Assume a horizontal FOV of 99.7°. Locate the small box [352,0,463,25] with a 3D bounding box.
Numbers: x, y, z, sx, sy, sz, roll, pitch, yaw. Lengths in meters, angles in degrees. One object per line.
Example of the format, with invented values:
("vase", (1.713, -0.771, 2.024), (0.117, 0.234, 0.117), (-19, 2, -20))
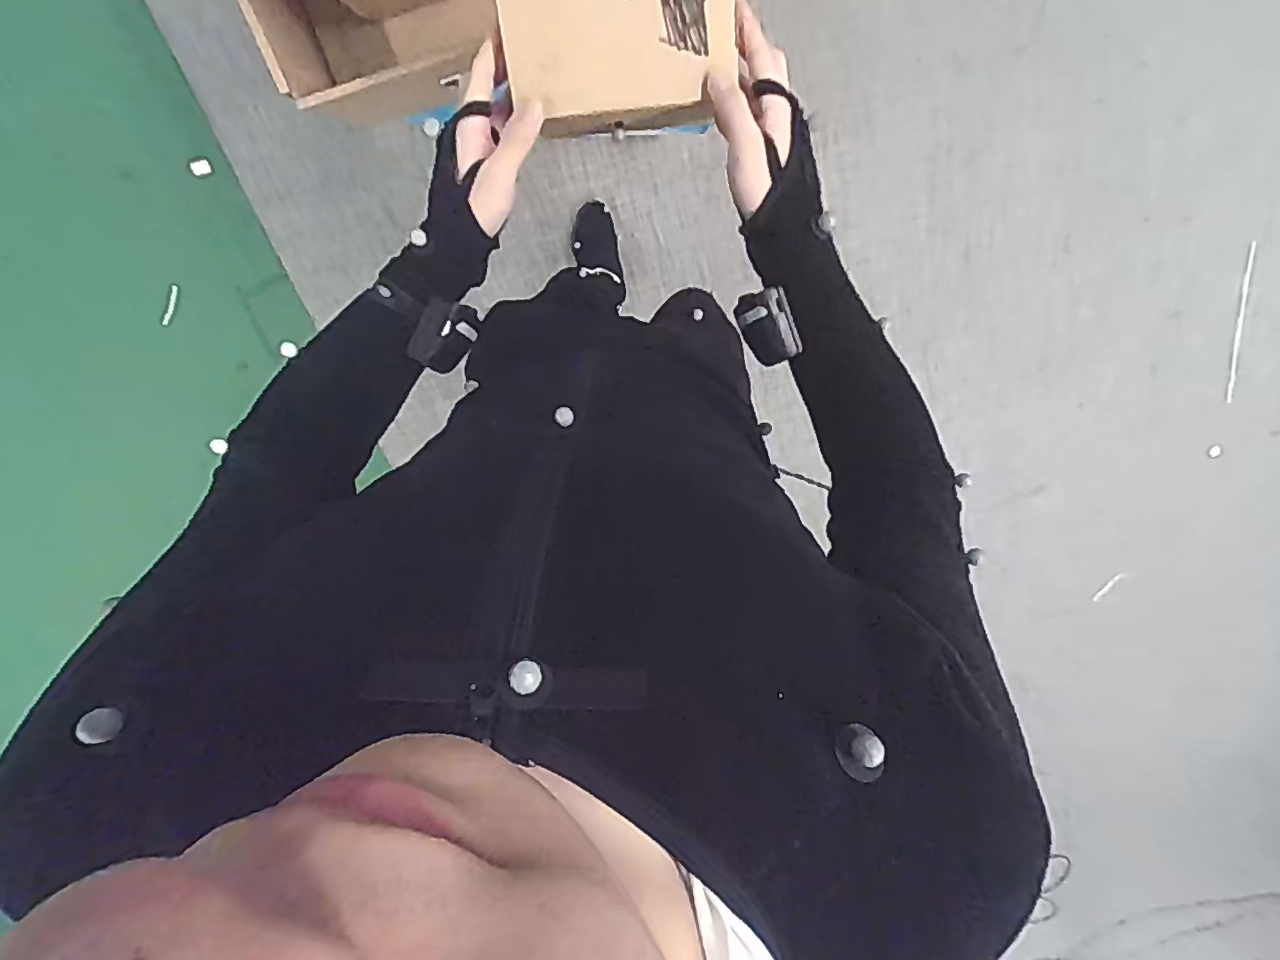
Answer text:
("small box", (-0.289, -0.654, 0.590), (0.168, 0.176, 0.179), (-15, 112, 5))
